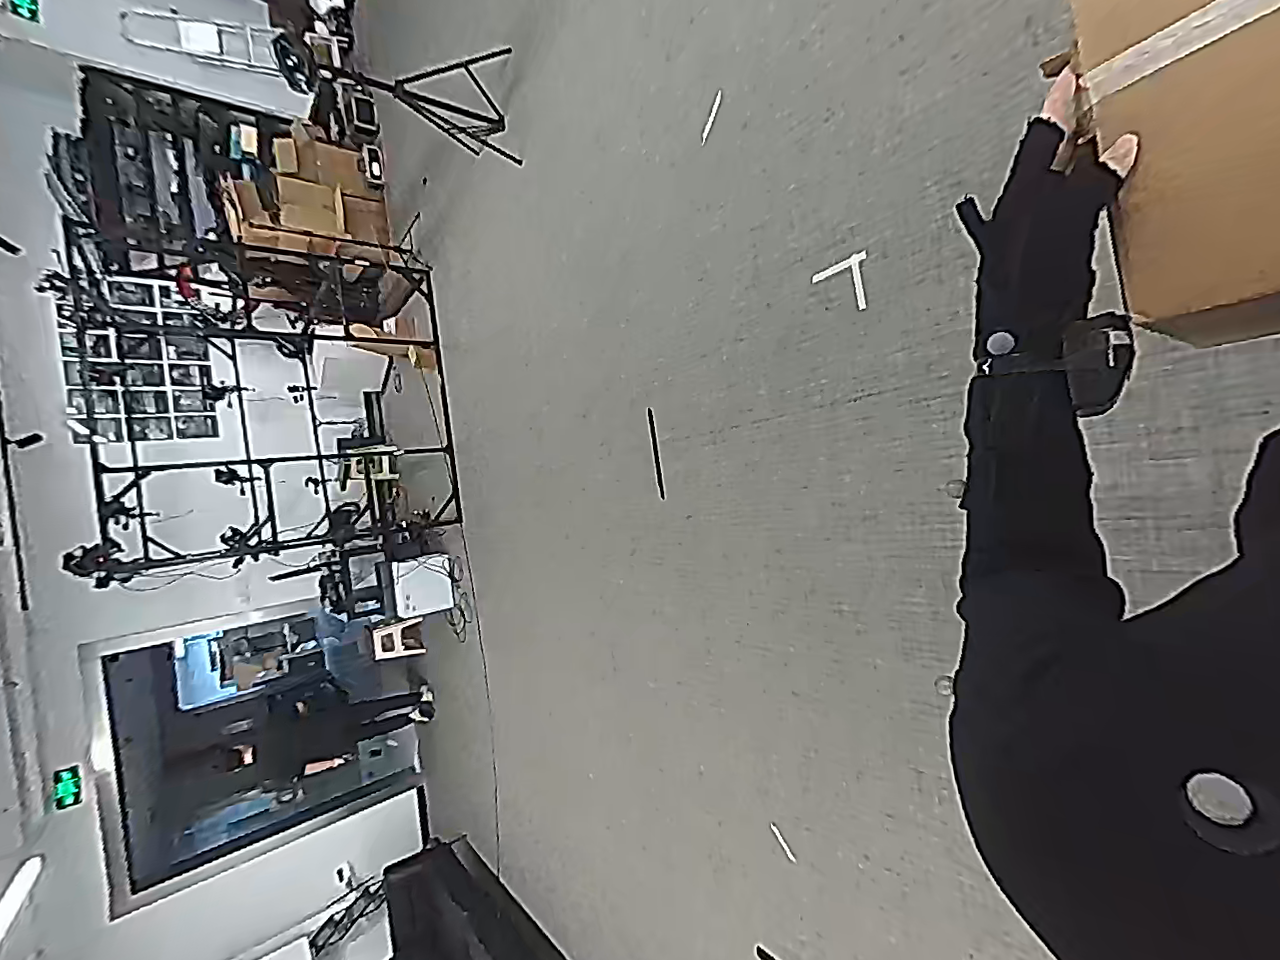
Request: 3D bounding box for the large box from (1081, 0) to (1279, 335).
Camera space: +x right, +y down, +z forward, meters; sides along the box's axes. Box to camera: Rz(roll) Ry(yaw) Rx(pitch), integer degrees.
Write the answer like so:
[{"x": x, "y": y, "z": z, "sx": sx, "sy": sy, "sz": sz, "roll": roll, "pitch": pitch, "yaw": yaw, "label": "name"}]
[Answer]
[{"x": 0.530, "y": -0.300, "z": 0.289, "sx": 0.408, "sy": 0.320, "sz": 0.320, "roll": -11, "pitch": 88, "yaw": 51, "label": "large box"}]
